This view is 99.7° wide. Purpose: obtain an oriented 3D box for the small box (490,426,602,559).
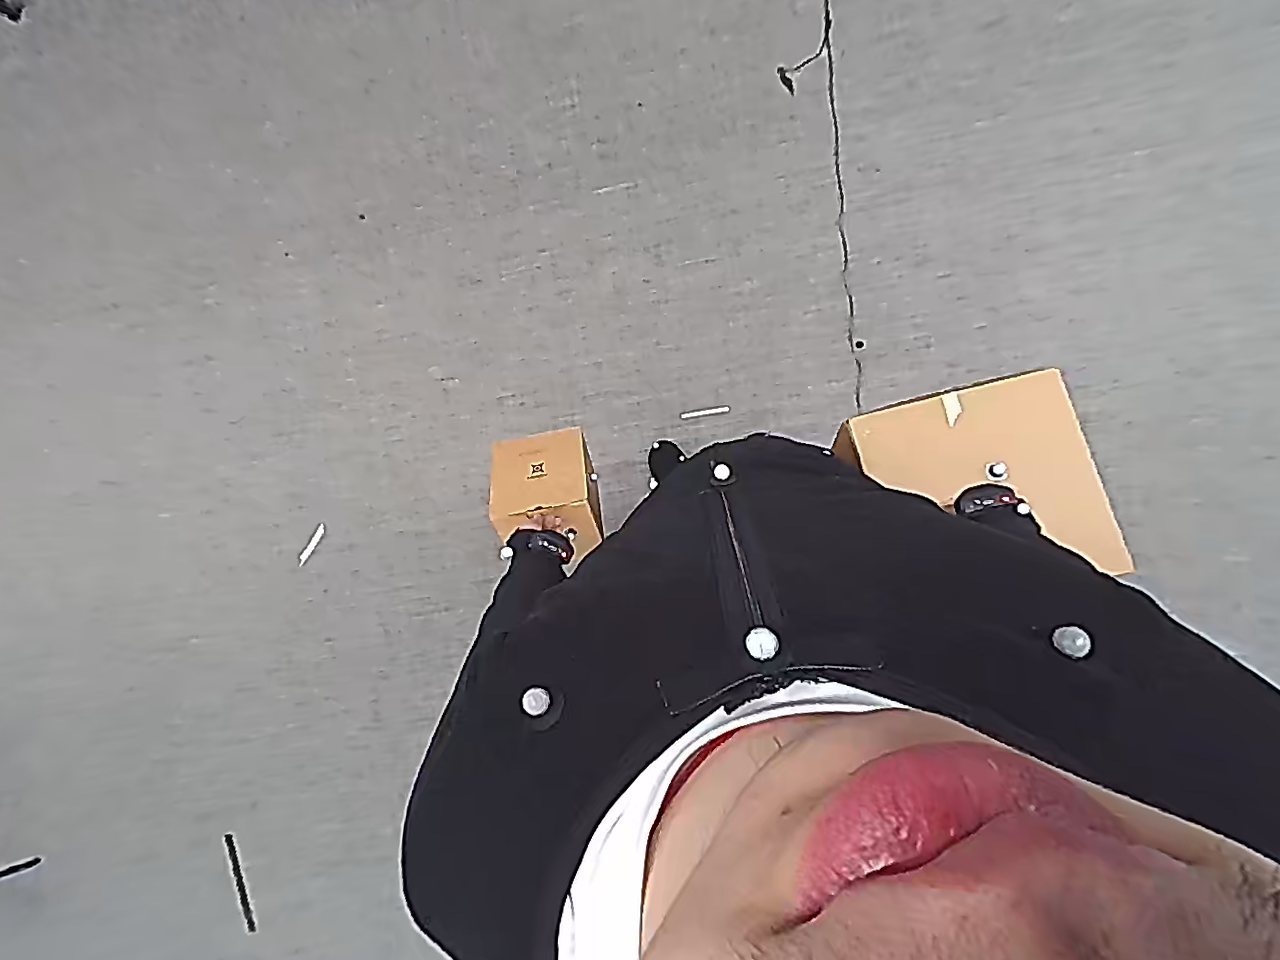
[{"bbox_3d":[-0.170,0.031,1.002,0.168,0.176,0.179,-11,51,-1],"label":"small box"}]
